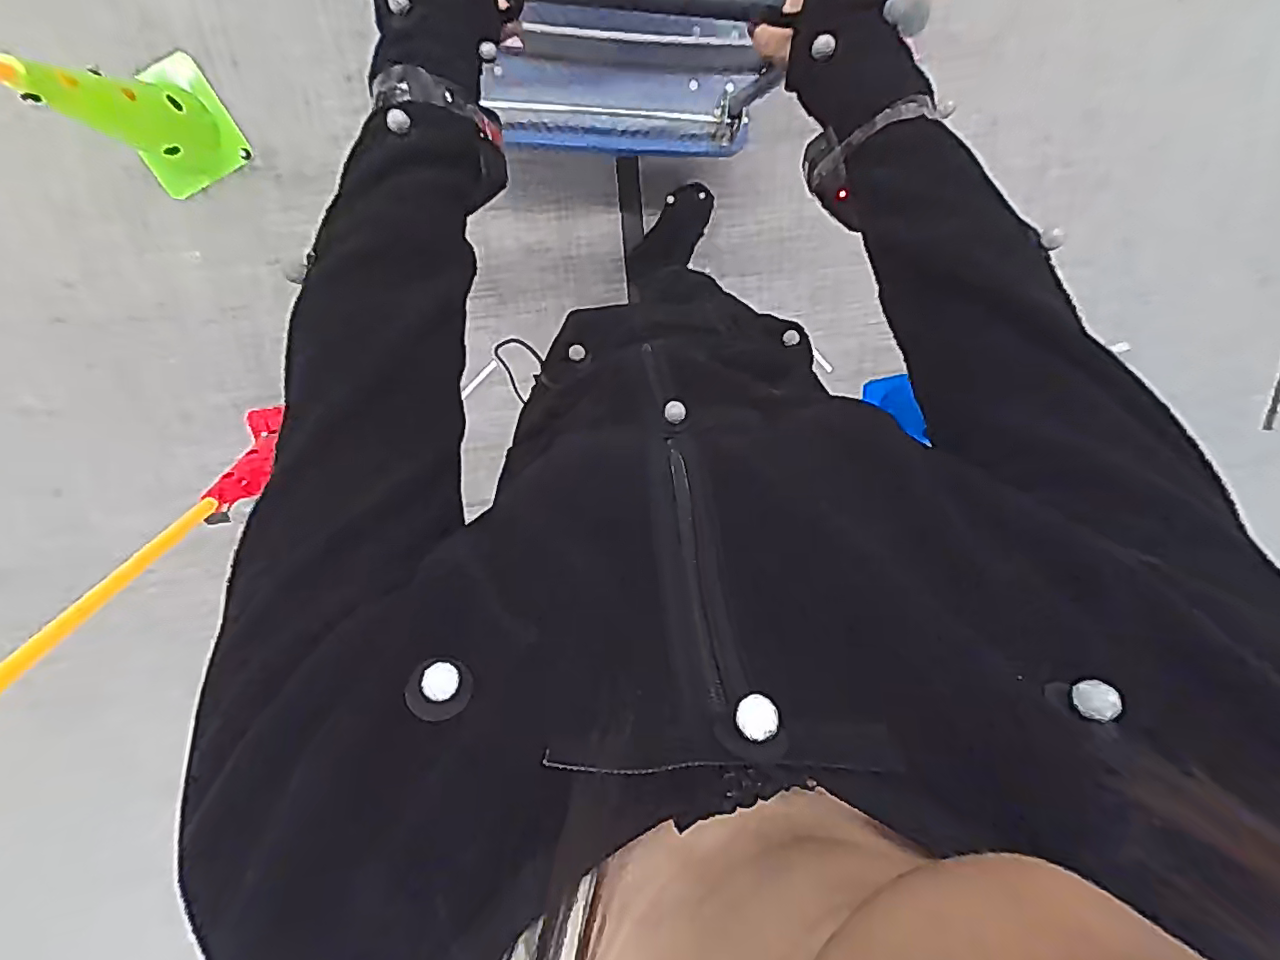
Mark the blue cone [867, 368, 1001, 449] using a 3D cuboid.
[{"bbox_3d":[0.726,-0.137,1.310,0.193,0.380,0.192,-12,111,-2],"label":"blue cone"}]

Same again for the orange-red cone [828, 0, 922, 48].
[{"bbox_3d":[0.511,-0.945,0.950,0.199,0.360,0.198,-2,112,-7],"label":"orange-red cone"}]
